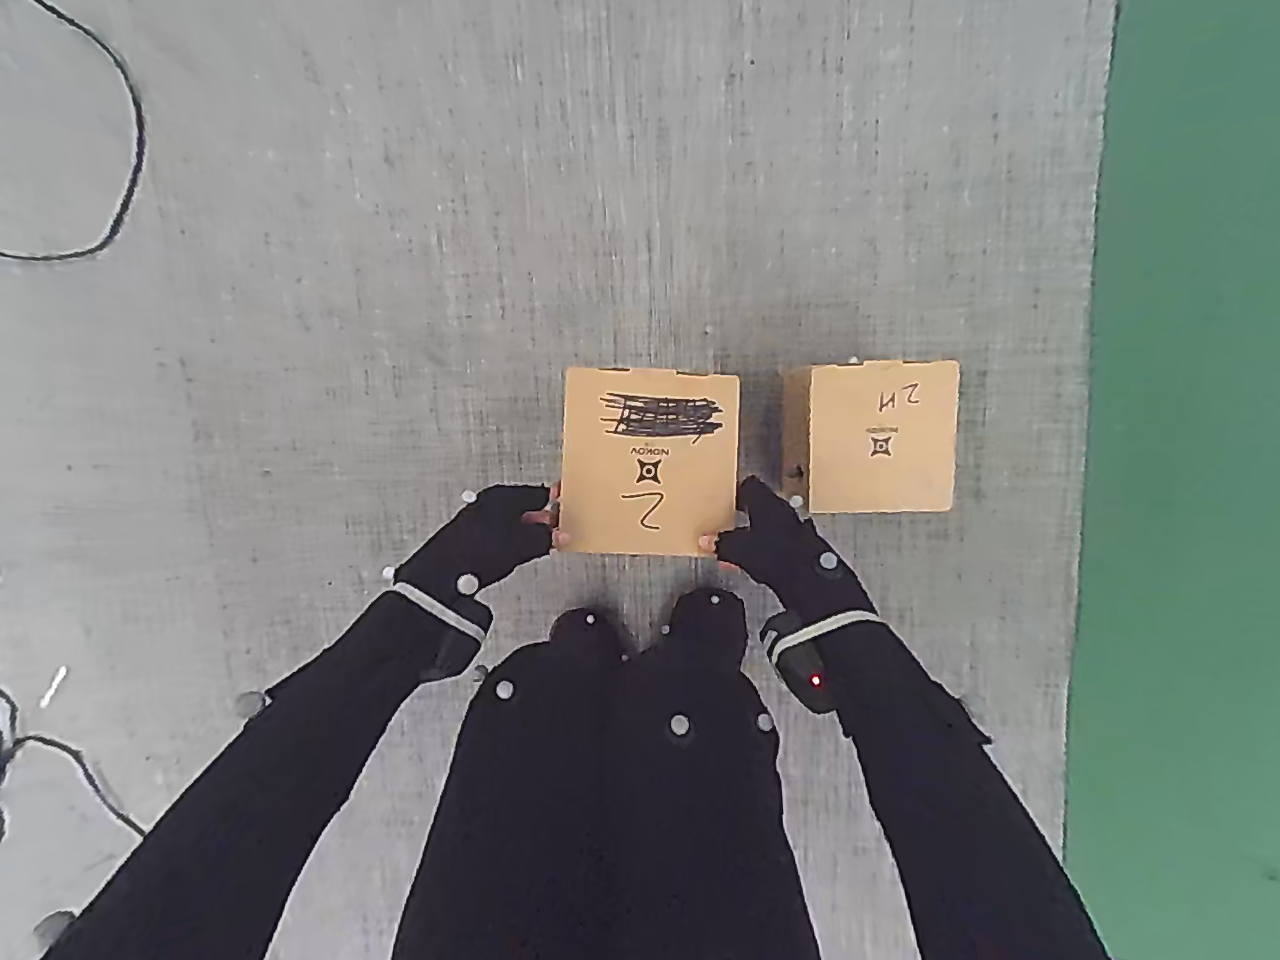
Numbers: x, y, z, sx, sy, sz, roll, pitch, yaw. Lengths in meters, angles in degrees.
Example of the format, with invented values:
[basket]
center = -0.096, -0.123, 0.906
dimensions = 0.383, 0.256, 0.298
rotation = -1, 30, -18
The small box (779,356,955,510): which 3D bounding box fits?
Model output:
[small box]
center = 0.279, -0.063, 0.699
dimensions = 0.168, 0.176, 0.179
rotation = -2, 97, 5
